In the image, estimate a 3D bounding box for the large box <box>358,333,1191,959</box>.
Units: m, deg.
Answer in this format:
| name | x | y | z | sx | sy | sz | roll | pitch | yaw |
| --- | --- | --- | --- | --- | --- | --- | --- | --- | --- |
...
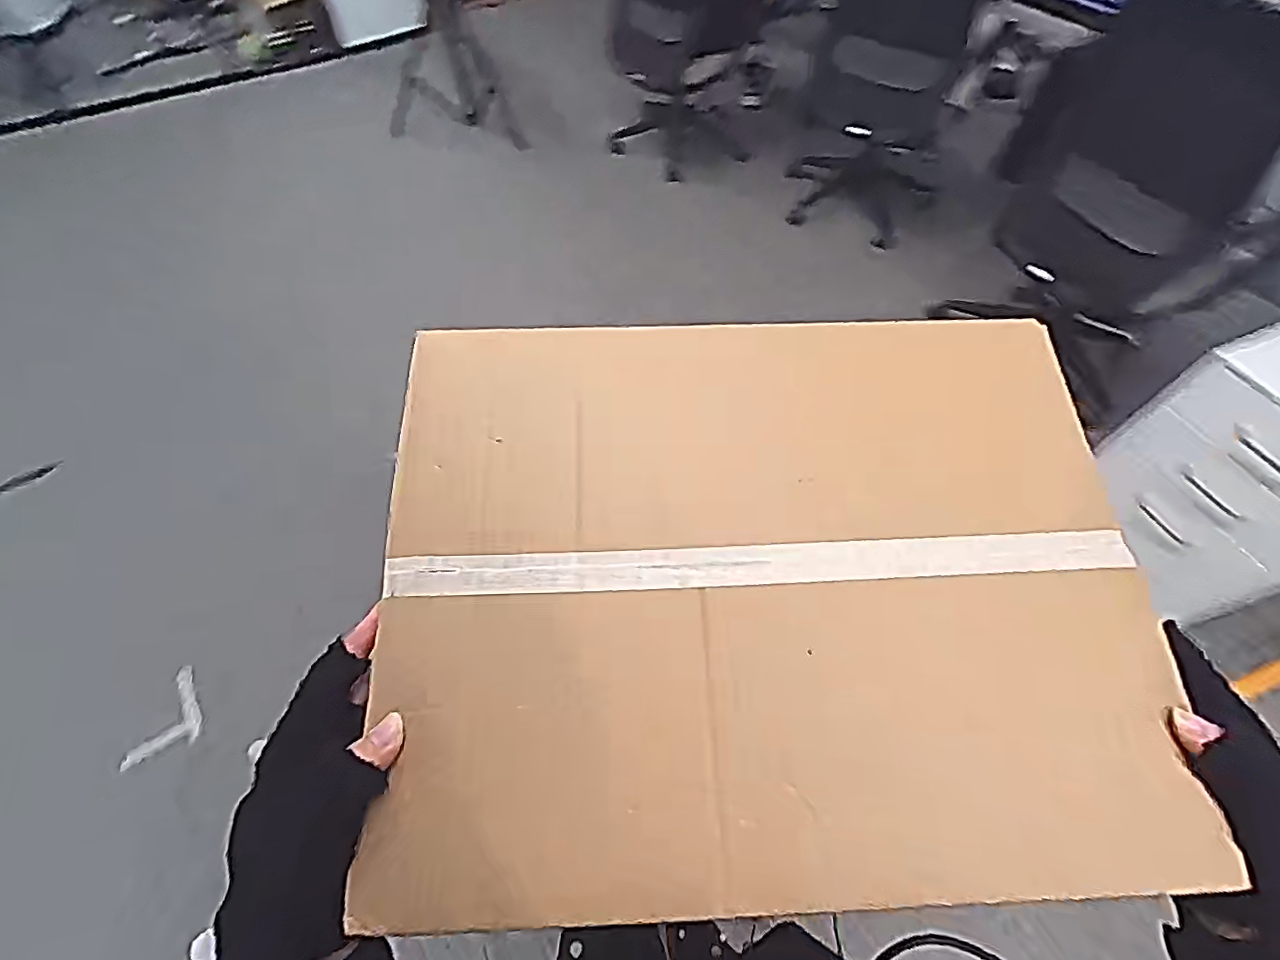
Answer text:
| name | x | y | z | sx | sy | sz | roll | pitch | yaw |
| --- | --- | --- | --- | --- | --- | --- | --- | --- | --- |
| large box | 0.058 | 0.109 | 0.440 | 0.408 | 0.320 | 0.320 | -3 | 69 | -2 |
